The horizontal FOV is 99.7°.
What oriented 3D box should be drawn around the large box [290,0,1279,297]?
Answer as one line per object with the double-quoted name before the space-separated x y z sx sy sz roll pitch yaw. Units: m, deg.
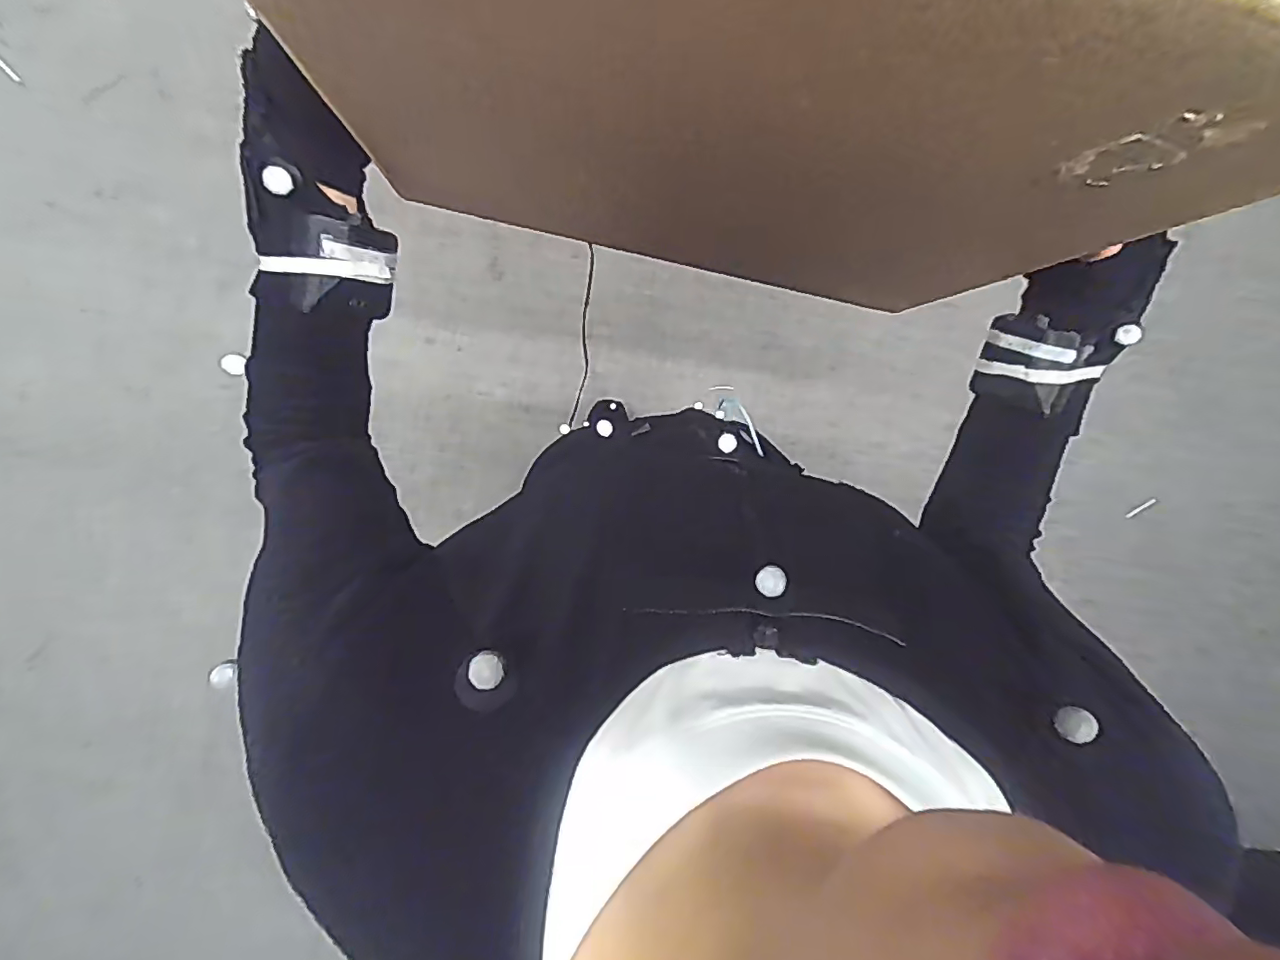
"large box" 0.069 -0.312 0.262 0.408 0.320 0.320 10 96 -9
